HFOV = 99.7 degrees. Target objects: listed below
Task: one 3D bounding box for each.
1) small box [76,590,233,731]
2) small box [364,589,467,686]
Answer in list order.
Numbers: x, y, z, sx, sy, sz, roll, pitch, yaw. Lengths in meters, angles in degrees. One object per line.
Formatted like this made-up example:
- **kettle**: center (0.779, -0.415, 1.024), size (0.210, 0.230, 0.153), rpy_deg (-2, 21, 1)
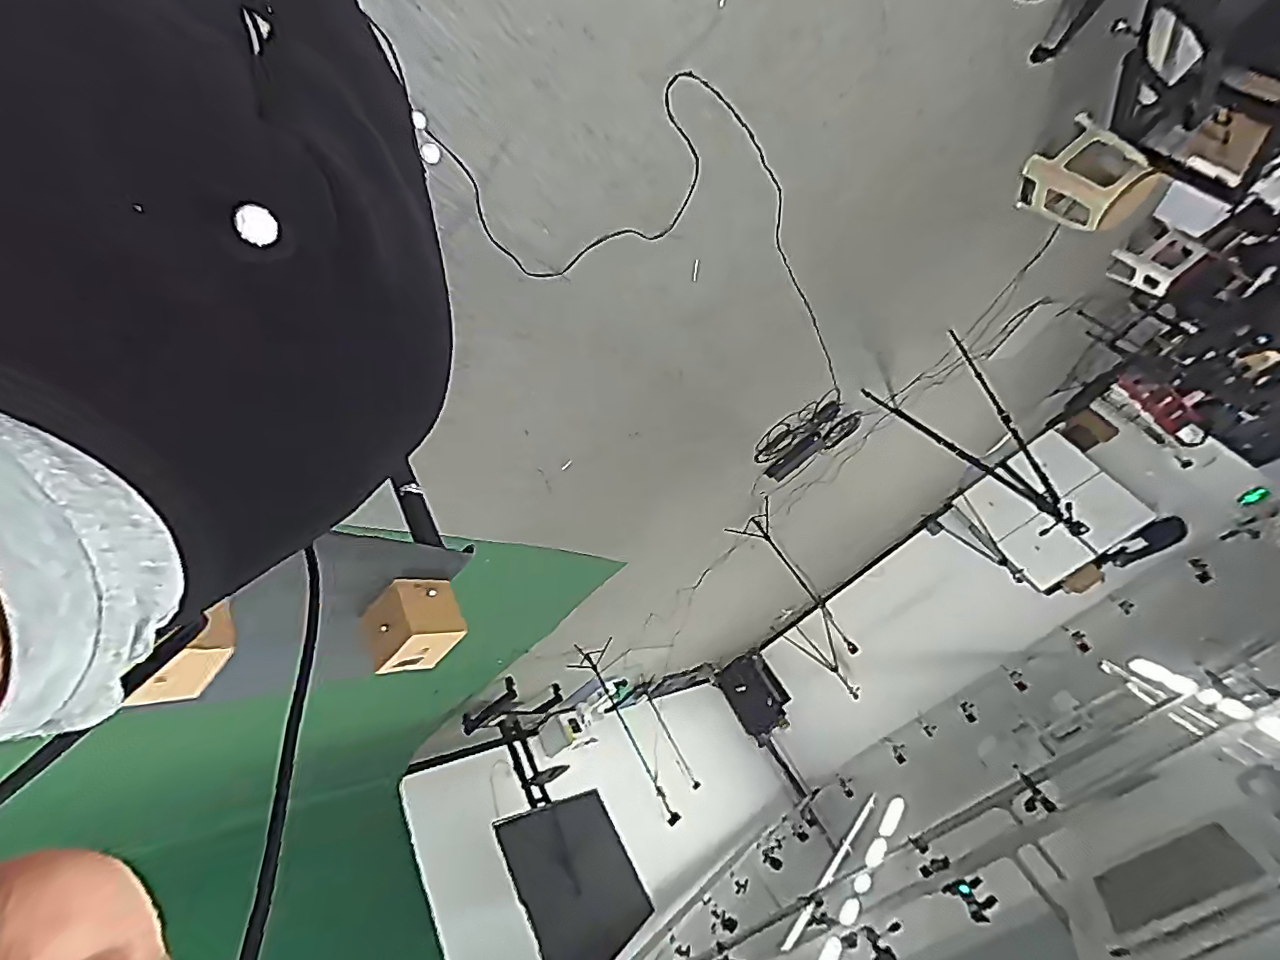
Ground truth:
- **small box**: center (-0.870, 0.312, 0.968), size (0.179, 0.176, 0.168), rpy_deg (-44, 149, 19)
- **small box**: center (-0.588, 0.404, 1.398), size (0.179, 0.176, 0.168), rpy_deg (-45, 150, 17)
